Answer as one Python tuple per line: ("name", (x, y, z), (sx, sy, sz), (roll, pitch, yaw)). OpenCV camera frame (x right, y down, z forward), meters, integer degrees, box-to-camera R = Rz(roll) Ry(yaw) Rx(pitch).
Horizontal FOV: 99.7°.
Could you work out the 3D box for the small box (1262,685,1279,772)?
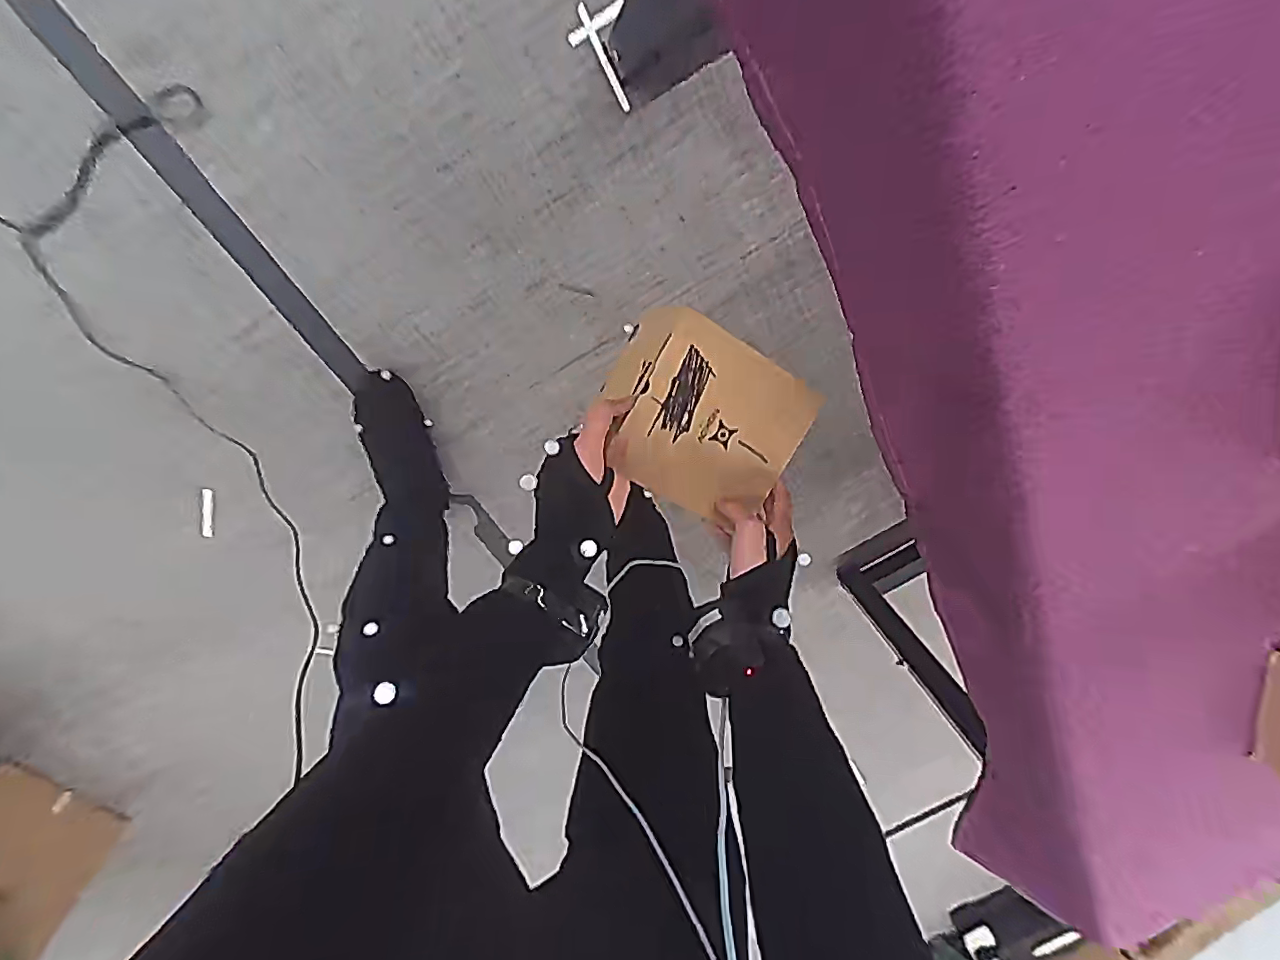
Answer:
("small box", (0.635, 0.209, 0.398), (0.168, 0.176, 0.179), (-27, 119, 4))
